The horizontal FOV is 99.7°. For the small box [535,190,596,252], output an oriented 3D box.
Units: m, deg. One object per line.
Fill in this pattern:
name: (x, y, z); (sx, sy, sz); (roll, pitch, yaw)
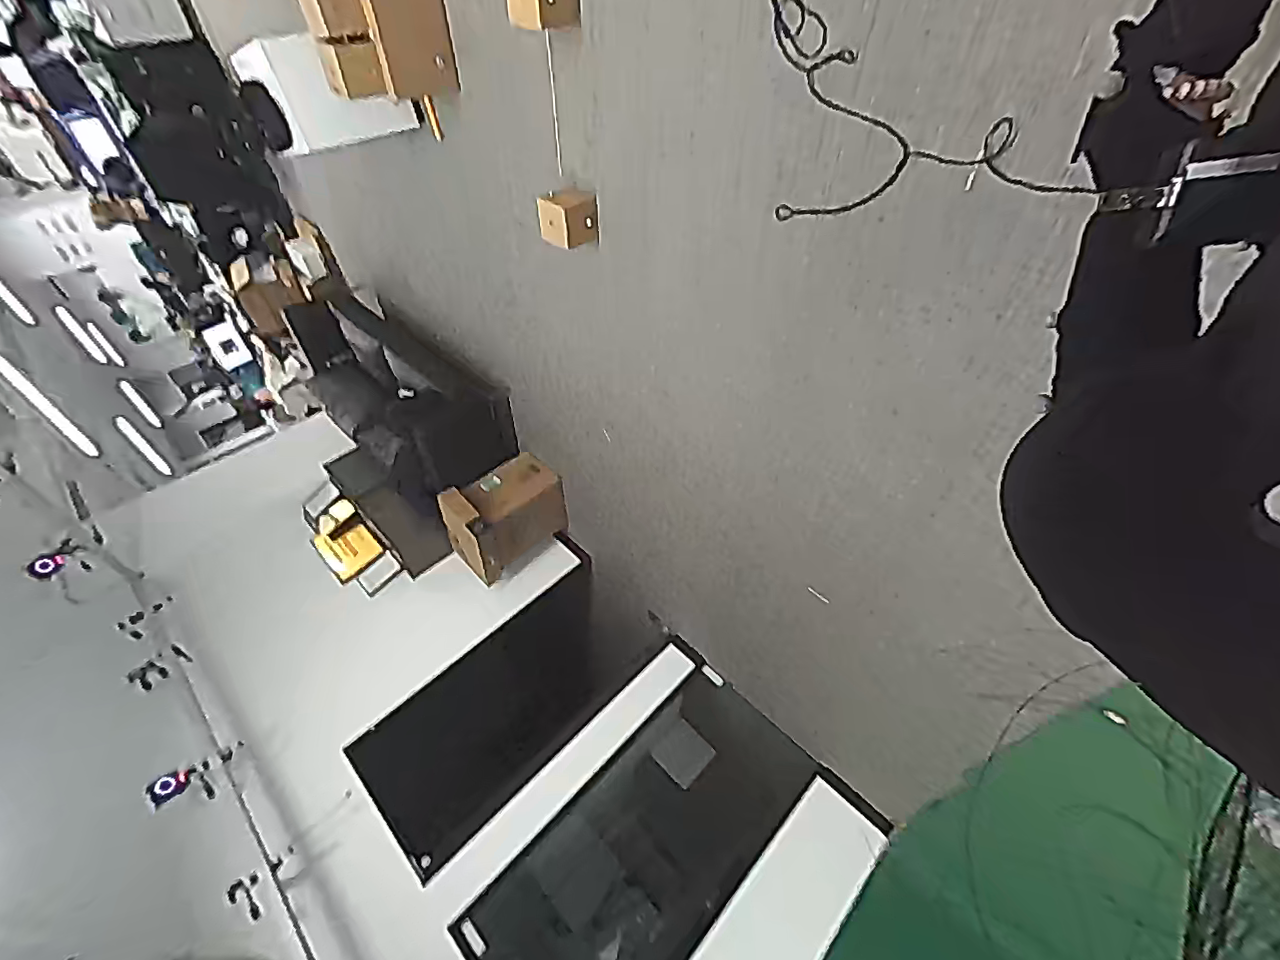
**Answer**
small box: (-0.300, -1.054, 2.188); (0.179, 0.176, 0.168); (35, 146, 29)

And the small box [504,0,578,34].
small box: (-0.314, -1.531, 1.696); (0.168, 0.176, 0.179); (35, 147, 28)
